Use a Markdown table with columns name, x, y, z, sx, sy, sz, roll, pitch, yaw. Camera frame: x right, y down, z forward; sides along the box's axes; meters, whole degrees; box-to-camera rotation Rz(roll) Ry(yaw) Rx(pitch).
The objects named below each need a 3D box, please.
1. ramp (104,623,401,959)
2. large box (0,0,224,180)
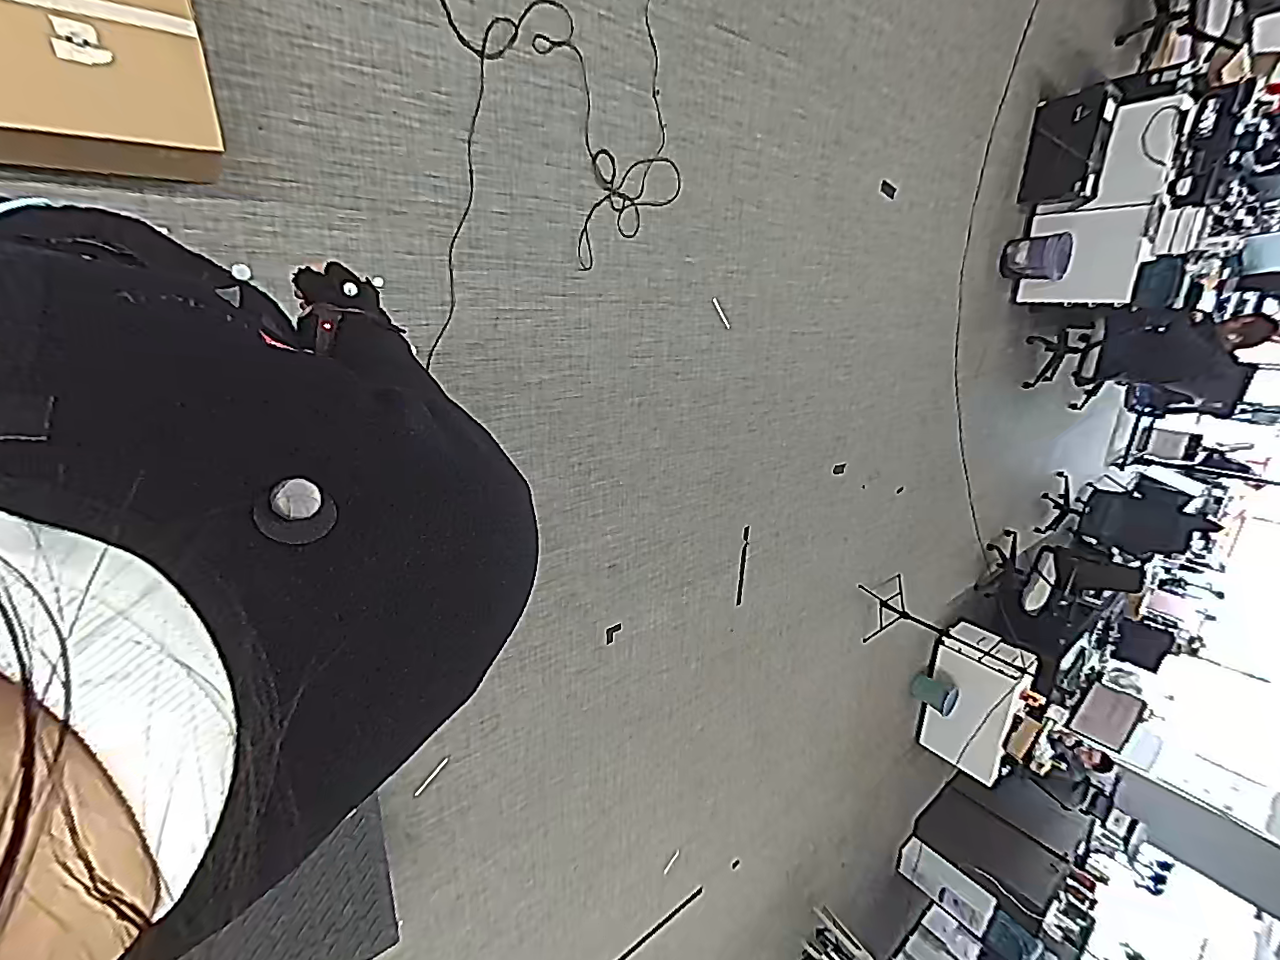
| name | x | y | z | sx | sy | sz | roll | pitch | yaw |
| --- | --- | --- | --- | --- | --- | --- | --- | --- | --- |
| ramp | -0.936 | 0.904 | 1.380 | 0.509 | 0.206 | 0.991 | -12 | 111 | -35 |
| large box | -0.906 | -0.656 | 0.797 | 0.408 | 0.320 | 0.320 | -15 | 114 | -36 |
